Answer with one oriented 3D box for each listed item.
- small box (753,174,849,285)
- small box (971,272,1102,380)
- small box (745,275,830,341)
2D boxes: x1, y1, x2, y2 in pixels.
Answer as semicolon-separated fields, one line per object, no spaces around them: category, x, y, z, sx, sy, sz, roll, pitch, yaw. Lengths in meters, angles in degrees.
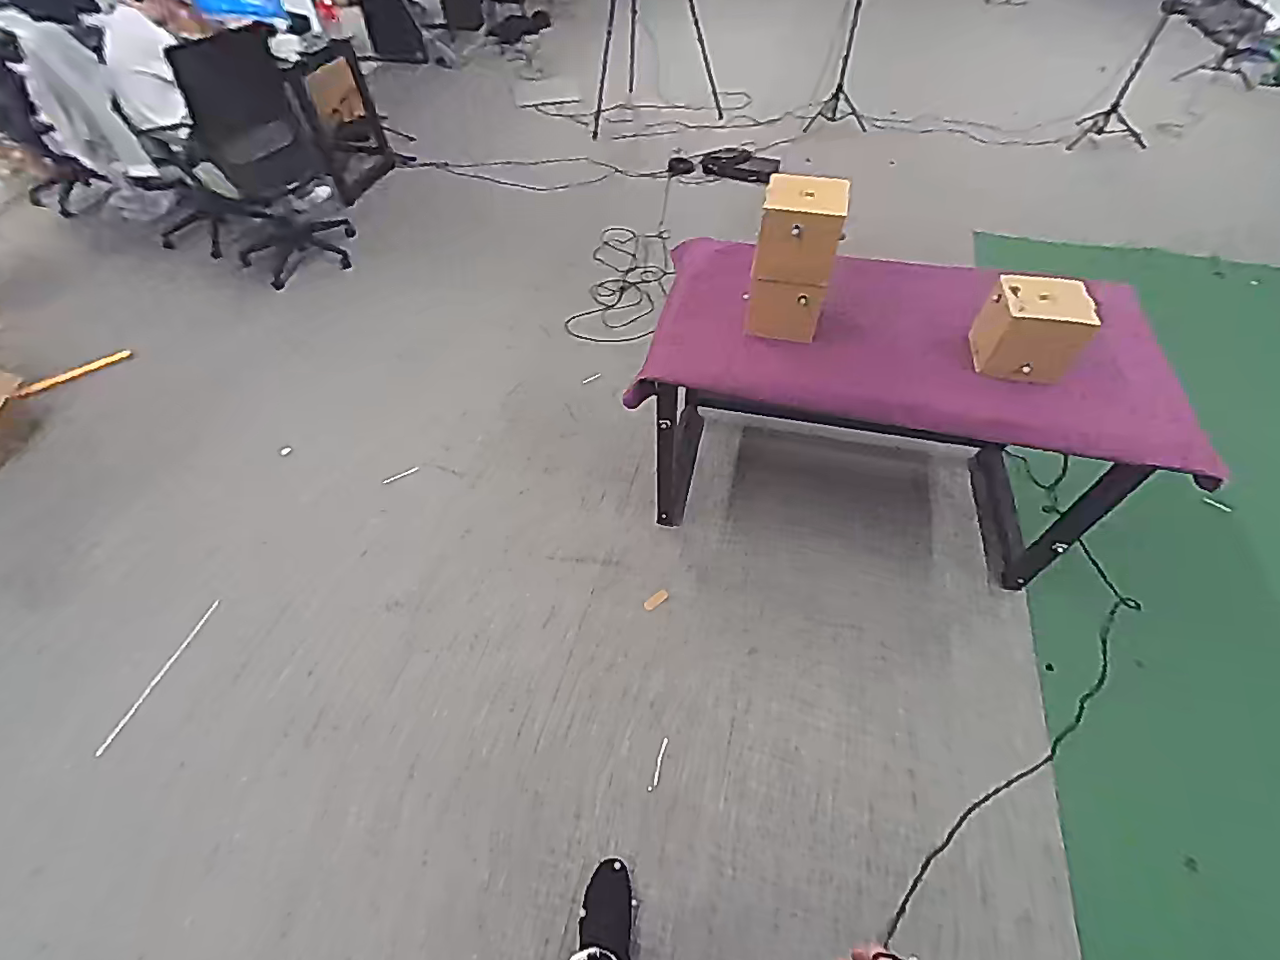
small box;0.365;-0.569;1.236;0.179;0.176;0.168;10;54;11
small box;0.899;-0.351;1.245;0.179;0.176;0.168;10;53;10
small box;0.372;-0.473;1.366;0.179;0.176;0.168;11;53;11
